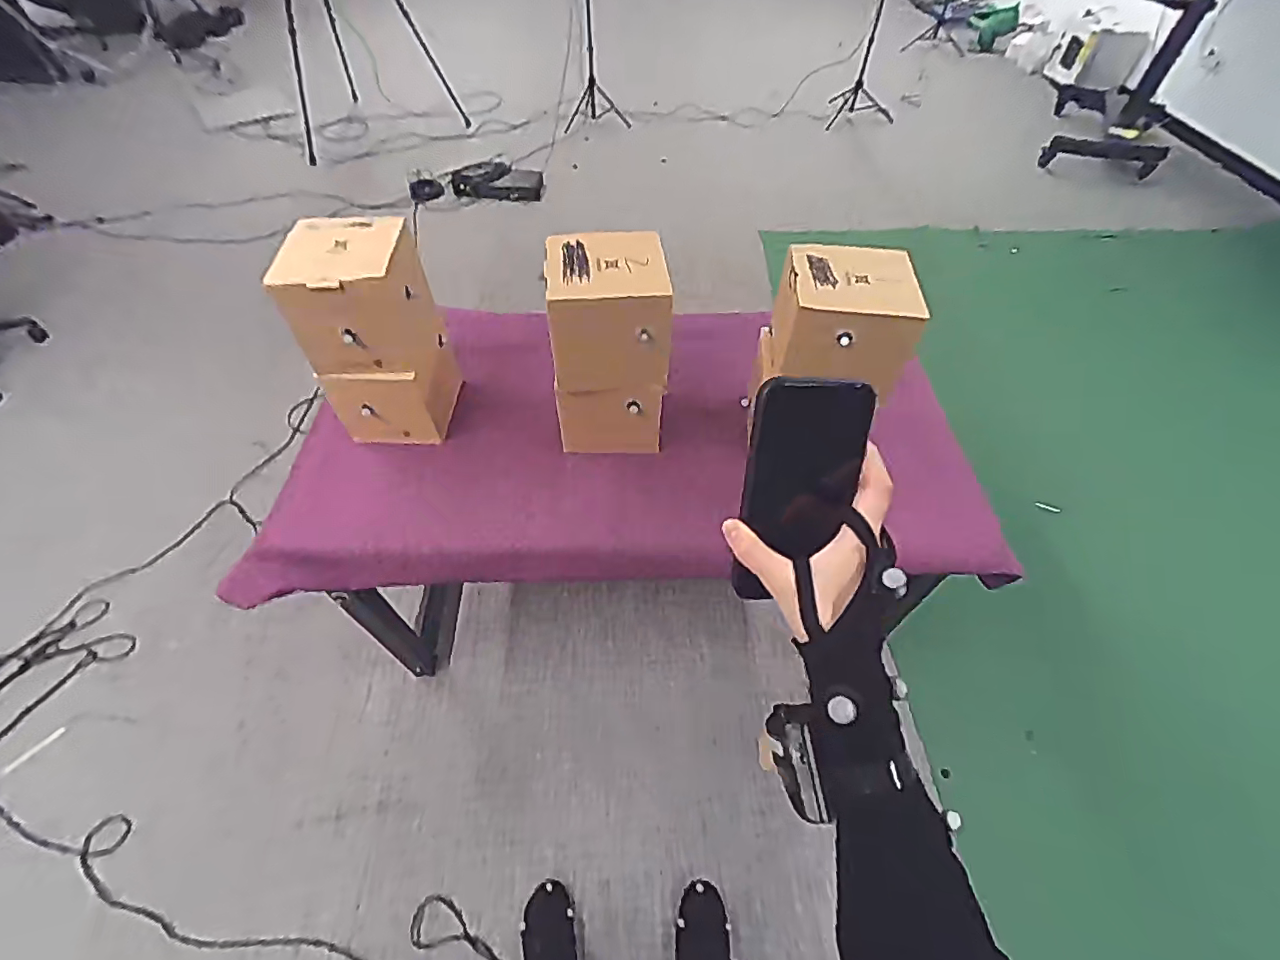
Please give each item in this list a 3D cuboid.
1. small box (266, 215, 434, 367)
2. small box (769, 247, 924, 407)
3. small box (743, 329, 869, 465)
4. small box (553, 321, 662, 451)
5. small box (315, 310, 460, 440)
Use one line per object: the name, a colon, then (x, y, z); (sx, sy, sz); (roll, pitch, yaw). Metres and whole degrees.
small box: (-0.441, -0.294, 0.859); (0.168, 0.176, 0.179); (-2, 54, -3)
small box: (0.298, -0.230, 0.827); (0.179, 0.176, 0.168); (6, 53, 3)
small box: (0.287, -0.144, 0.967); (0.179, 0.176, 0.168); (6, 53, 4)
small box: (-0.053, -0.164, 0.973); (0.179, 0.176, 0.168); (1, 53, 0)
small box: (-0.443, -0.189, 0.986); (0.168, 0.176, 0.179); (2, 53, 0)
